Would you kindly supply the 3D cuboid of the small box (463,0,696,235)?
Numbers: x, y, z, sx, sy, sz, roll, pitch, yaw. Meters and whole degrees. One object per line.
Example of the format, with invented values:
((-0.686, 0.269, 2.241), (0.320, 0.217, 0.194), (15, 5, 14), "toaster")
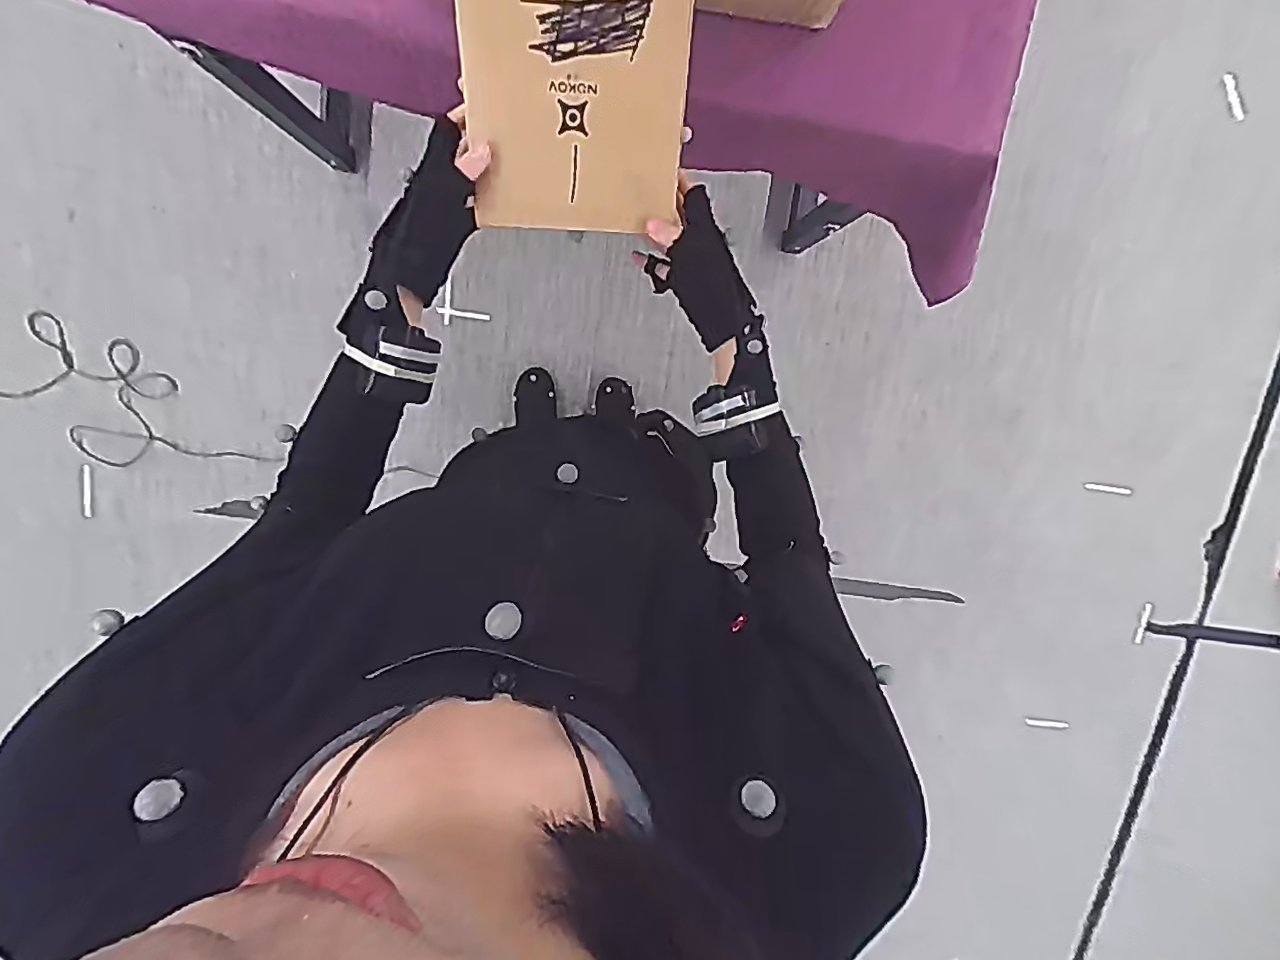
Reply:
((-0.050, -0.320, 0.474), (0.168, 0.176, 0.179), (2, 118, -3), "small box")
